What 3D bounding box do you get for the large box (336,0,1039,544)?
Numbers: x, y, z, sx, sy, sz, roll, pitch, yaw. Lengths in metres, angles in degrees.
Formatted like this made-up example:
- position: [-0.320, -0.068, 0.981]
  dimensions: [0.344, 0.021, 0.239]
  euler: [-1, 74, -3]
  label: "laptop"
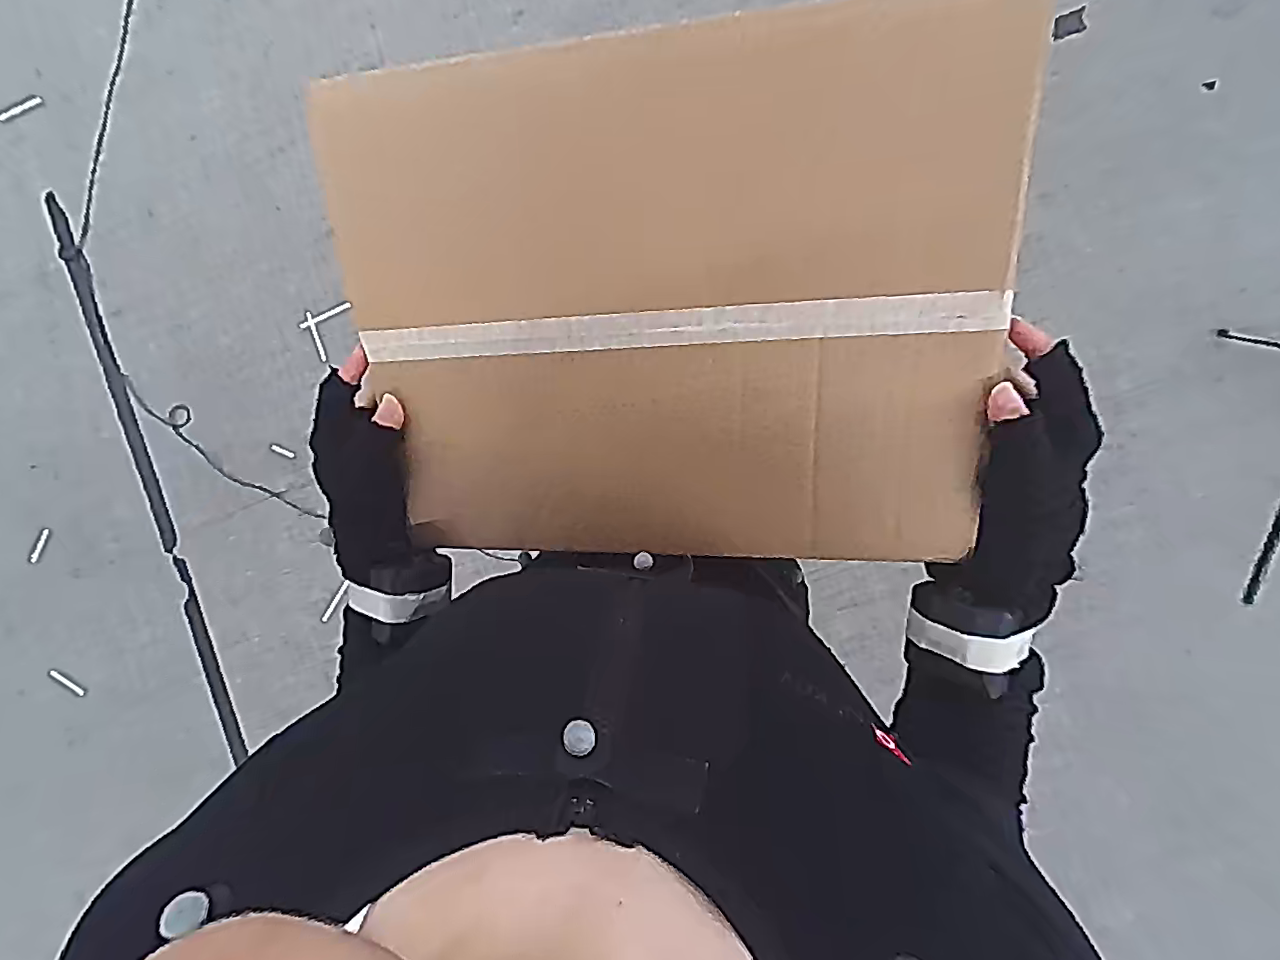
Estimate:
- position: [0.036, -0.150, 0.487]
  dimensions: [0.408, 0.320, 0.320]
  euler: [1, 111, 11]
  label: "large box"
